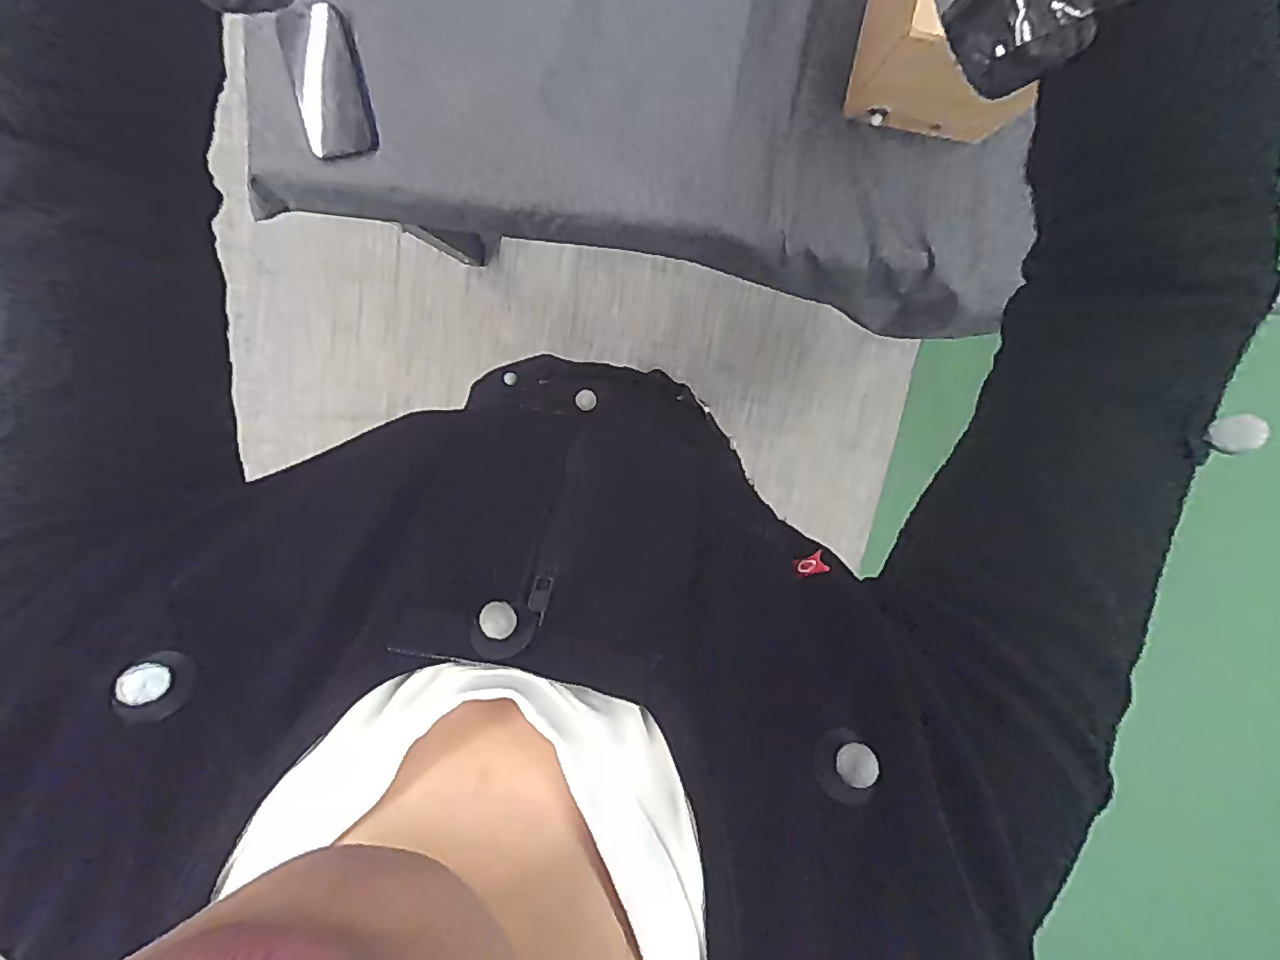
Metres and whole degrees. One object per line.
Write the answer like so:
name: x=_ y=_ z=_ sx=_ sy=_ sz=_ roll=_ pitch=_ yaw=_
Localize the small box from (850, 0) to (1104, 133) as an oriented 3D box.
small box: x=0.333 y=-0.485 z=0.542 sx=0.168 sy=0.176 sz=0.179 roll=10 pitch=101 yaw=-2
